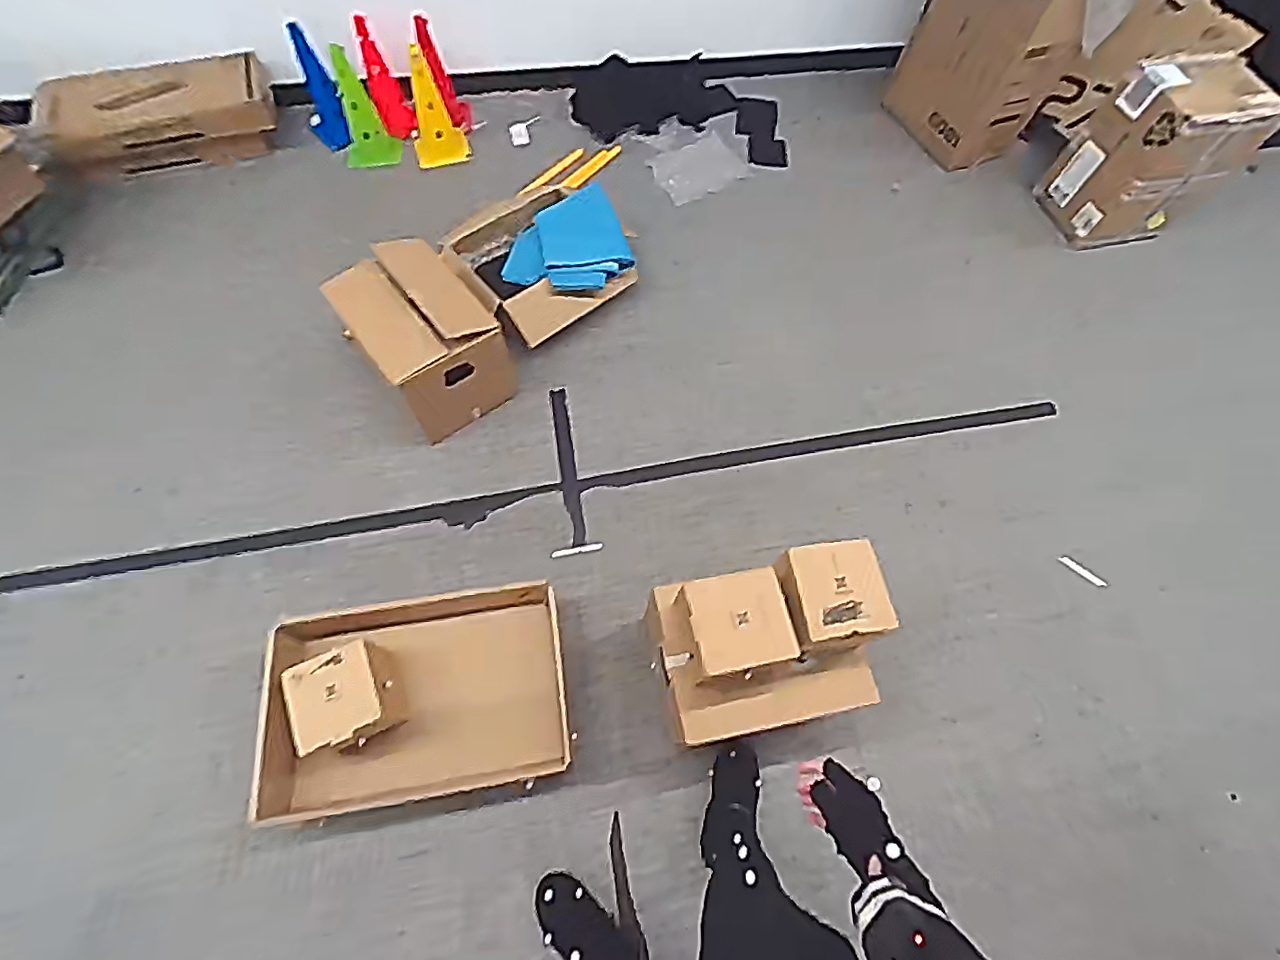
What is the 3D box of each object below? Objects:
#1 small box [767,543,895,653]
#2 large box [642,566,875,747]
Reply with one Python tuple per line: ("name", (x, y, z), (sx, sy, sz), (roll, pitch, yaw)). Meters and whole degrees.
("small box", (0.365, 0.240, 1.069), (0.168, 0.176, 0.179), (-5, 63, -6))
("large box", (0.240, 0.406, 1.251), (0.408, 0.320, 0.320), (-9, 66, -9))
